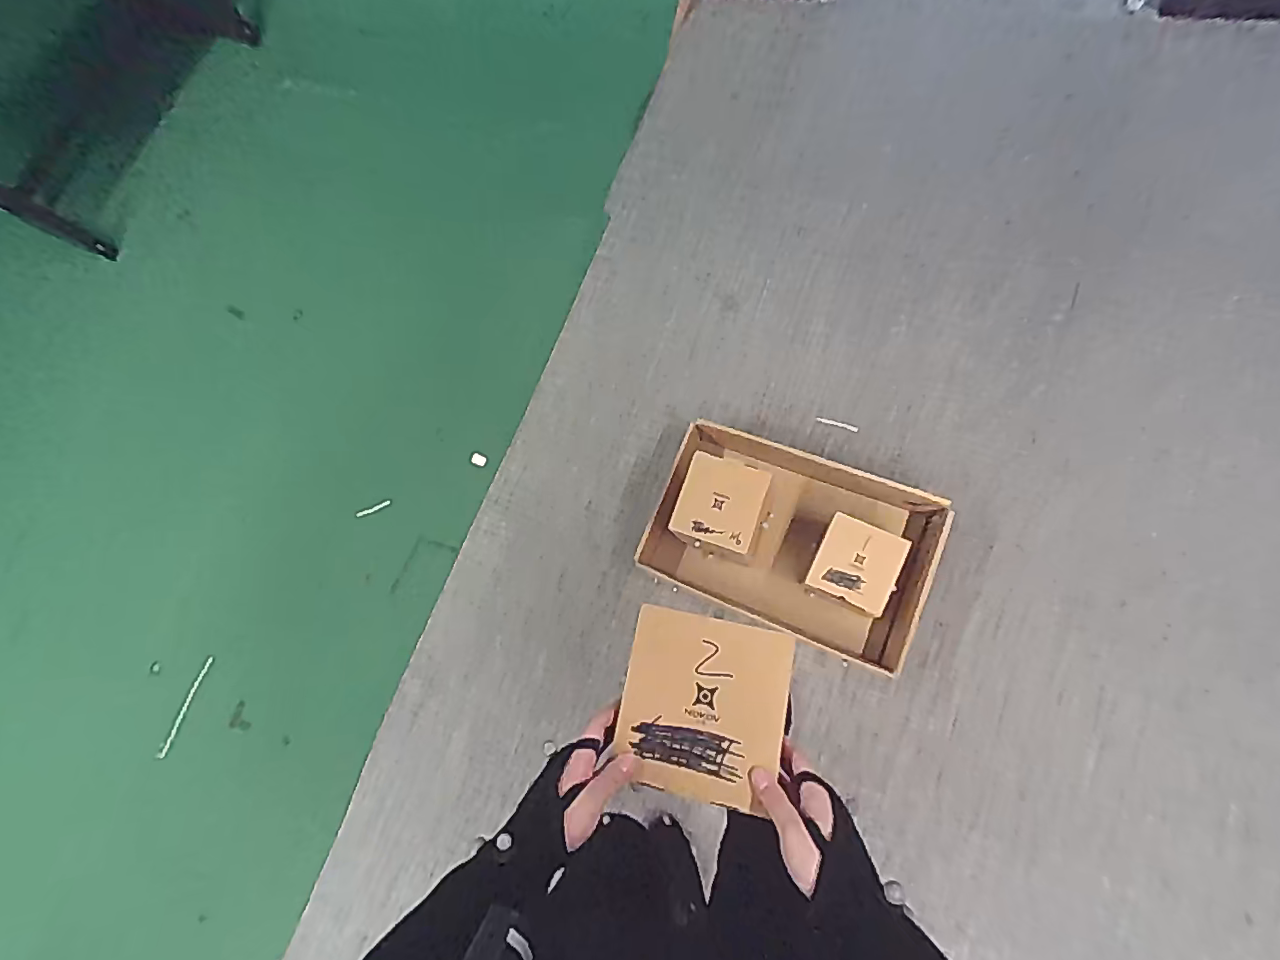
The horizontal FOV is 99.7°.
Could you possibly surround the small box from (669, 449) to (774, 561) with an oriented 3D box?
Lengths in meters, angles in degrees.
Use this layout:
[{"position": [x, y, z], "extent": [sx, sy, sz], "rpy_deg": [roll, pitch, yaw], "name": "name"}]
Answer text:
[{"position": [0.177, 0.059, 1.152], "extent": [0.168, 0.176, 0.179], "rpy_deg": [19, 80, 16], "name": "small box"}]
